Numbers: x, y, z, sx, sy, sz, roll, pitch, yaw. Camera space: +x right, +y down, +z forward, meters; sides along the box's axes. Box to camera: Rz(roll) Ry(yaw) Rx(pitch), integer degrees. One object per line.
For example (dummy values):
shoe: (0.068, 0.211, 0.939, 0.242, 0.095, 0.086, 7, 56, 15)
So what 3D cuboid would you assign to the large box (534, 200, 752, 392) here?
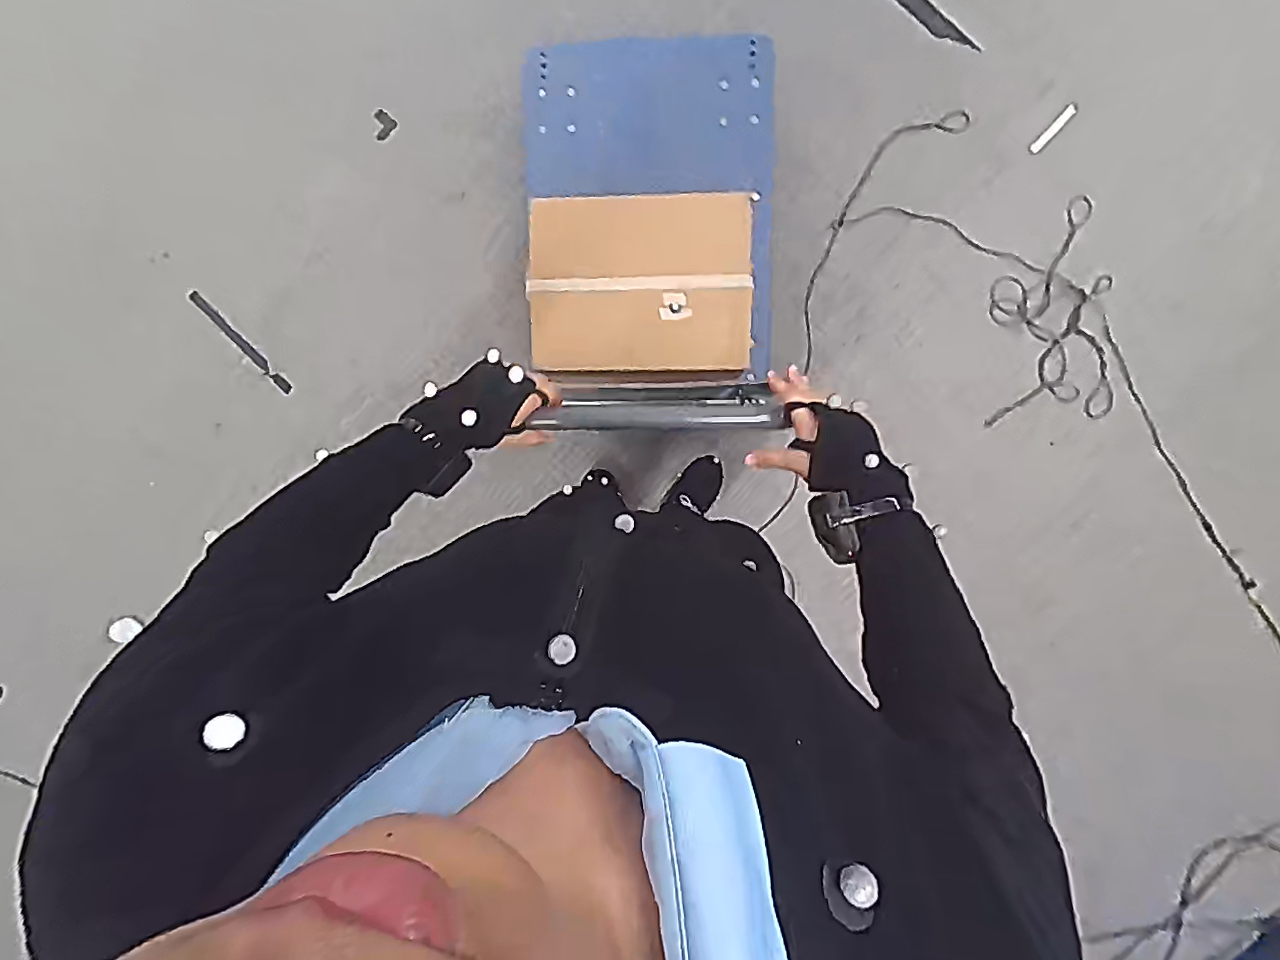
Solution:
large box: (0.011, -0.360, 1.141, 0.408, 0.320, 0.320, 0, 95, 3)
